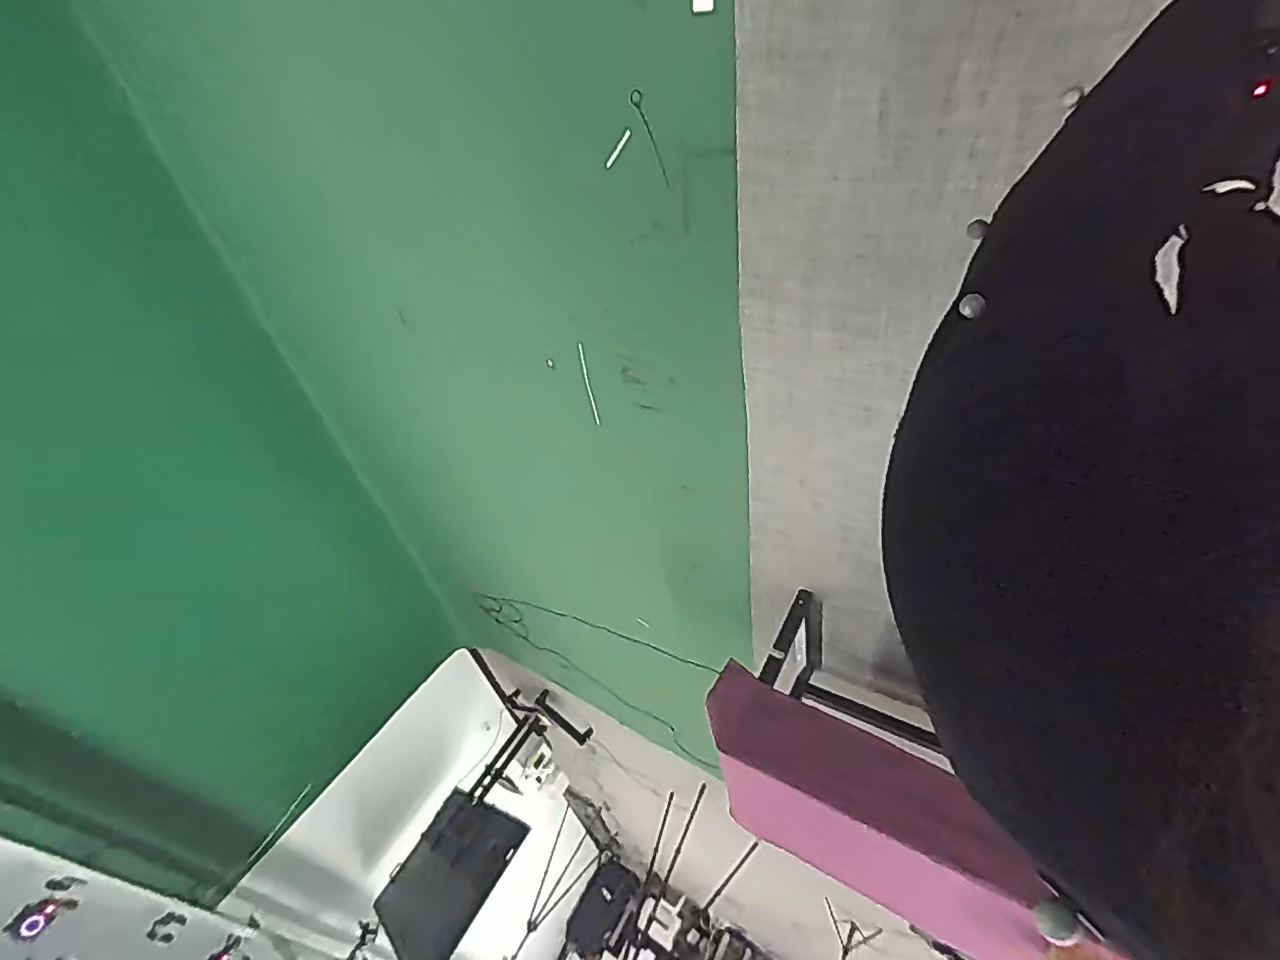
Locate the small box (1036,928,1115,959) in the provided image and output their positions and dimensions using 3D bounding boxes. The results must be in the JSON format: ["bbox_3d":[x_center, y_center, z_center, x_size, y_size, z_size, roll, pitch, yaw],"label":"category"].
[{"bbox_3d":[1.051,1.214,1.281,0.168,0.176,0.179,13,137,33],"label":"small box"}]
